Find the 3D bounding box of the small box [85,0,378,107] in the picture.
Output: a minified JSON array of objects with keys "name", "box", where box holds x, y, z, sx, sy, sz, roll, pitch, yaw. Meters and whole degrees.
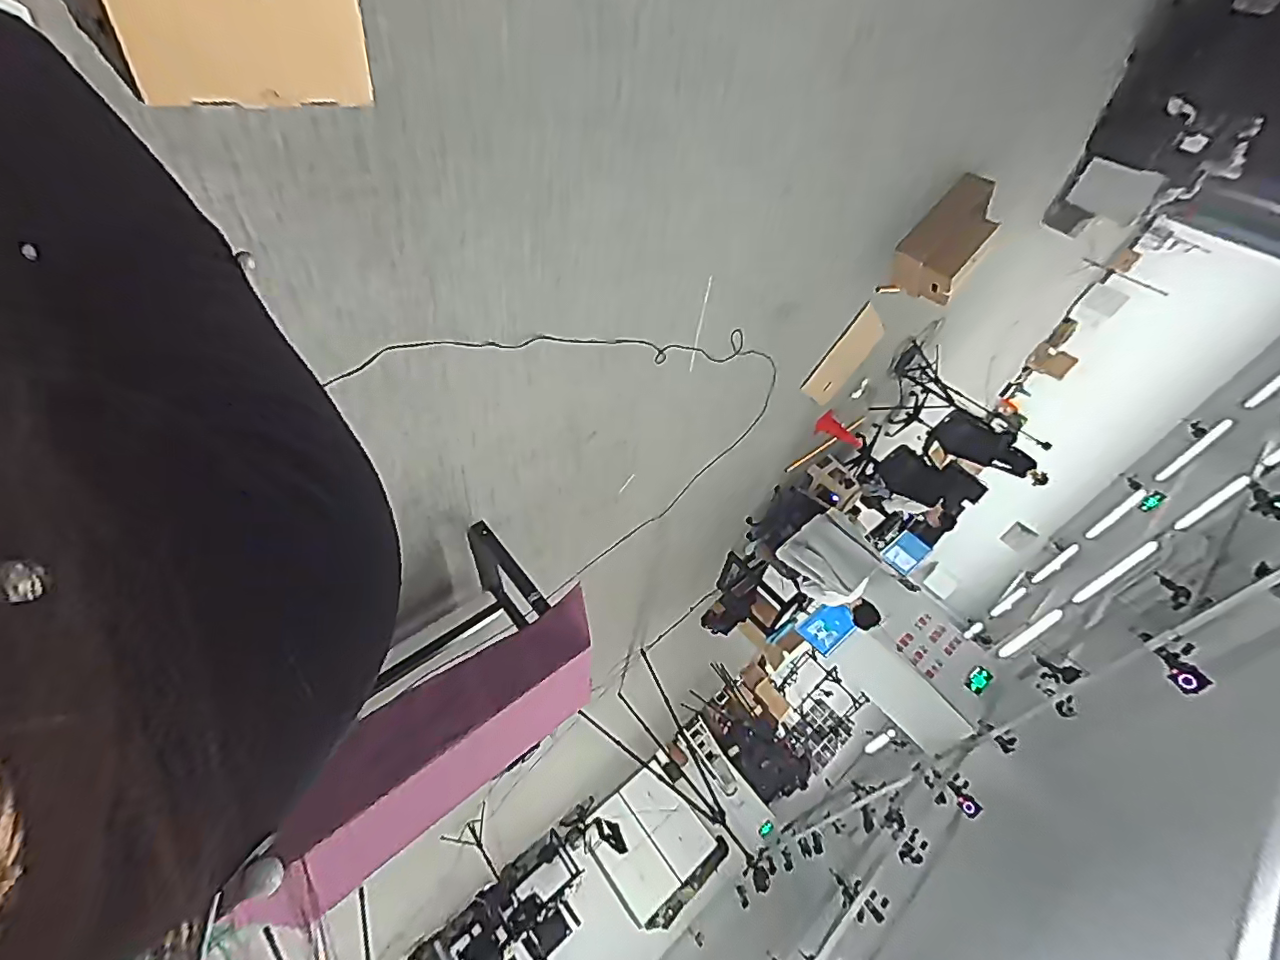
[{"name":"small box","box":[-0.331,-0.409,0.411,0.168,0.176,0.179,-28,147,-33]}]
